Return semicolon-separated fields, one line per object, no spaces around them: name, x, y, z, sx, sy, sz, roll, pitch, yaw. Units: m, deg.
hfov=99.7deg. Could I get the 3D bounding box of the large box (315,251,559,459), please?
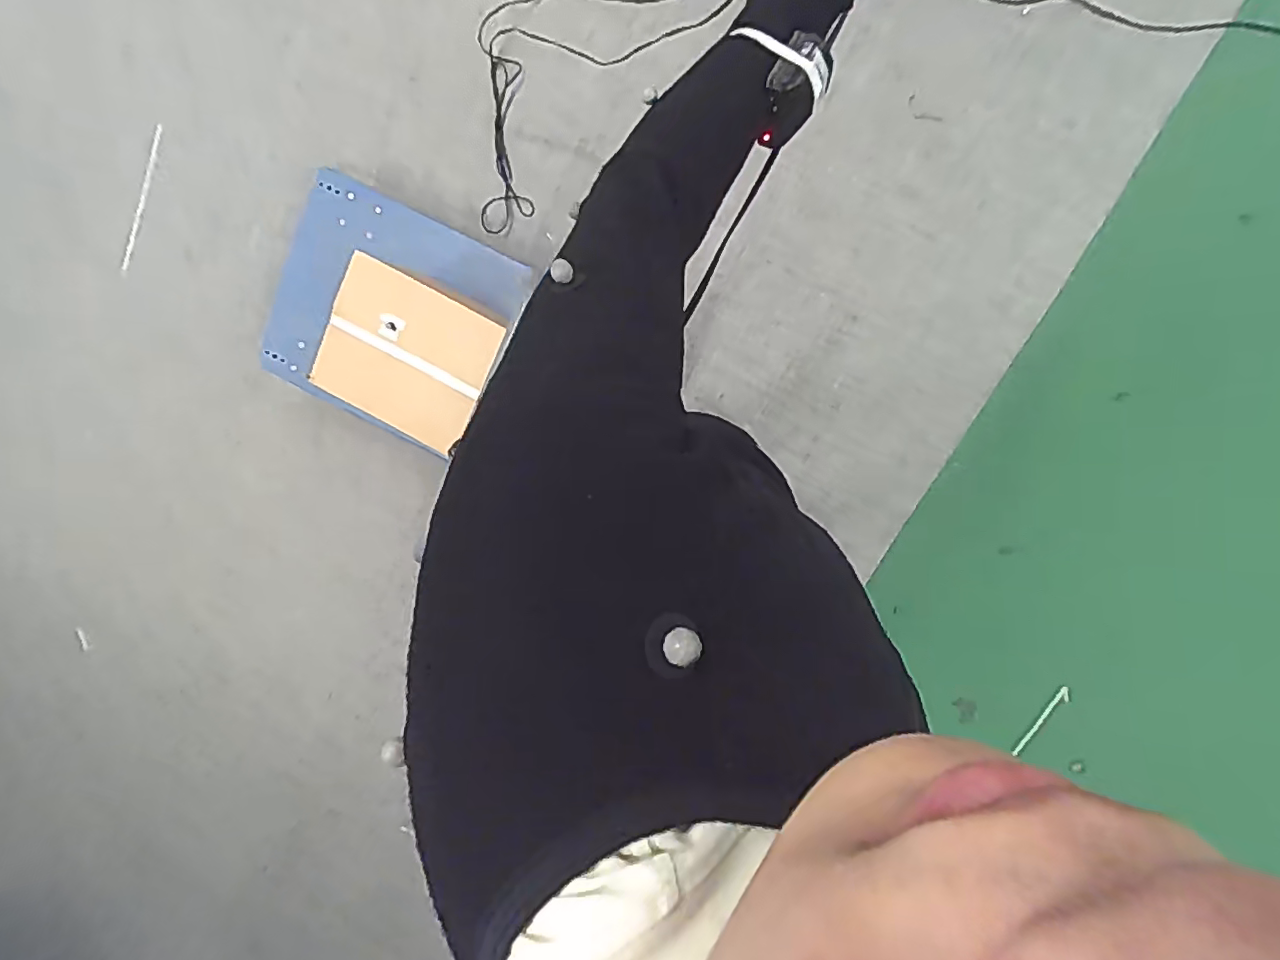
large box;-0.467;-0.290;1.314;0.408;0.320;0.320;28;101;1
